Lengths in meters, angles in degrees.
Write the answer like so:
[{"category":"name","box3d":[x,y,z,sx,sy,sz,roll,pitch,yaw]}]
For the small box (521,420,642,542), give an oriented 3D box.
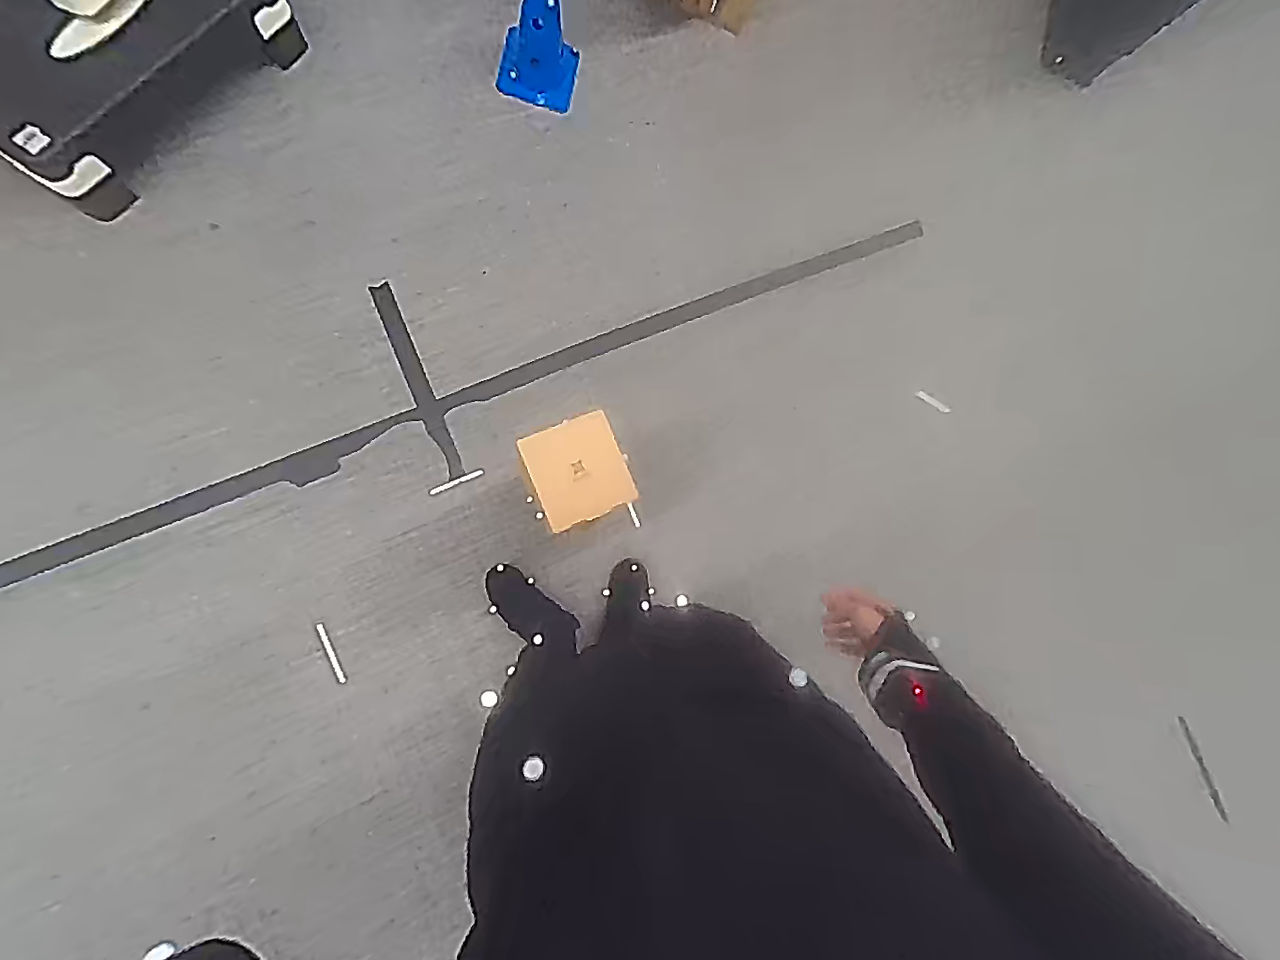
[{"category":"small box","box3d":[-0.119,0.008,1.021,0.168,0.176,0.179,-23,90,-13]}]
